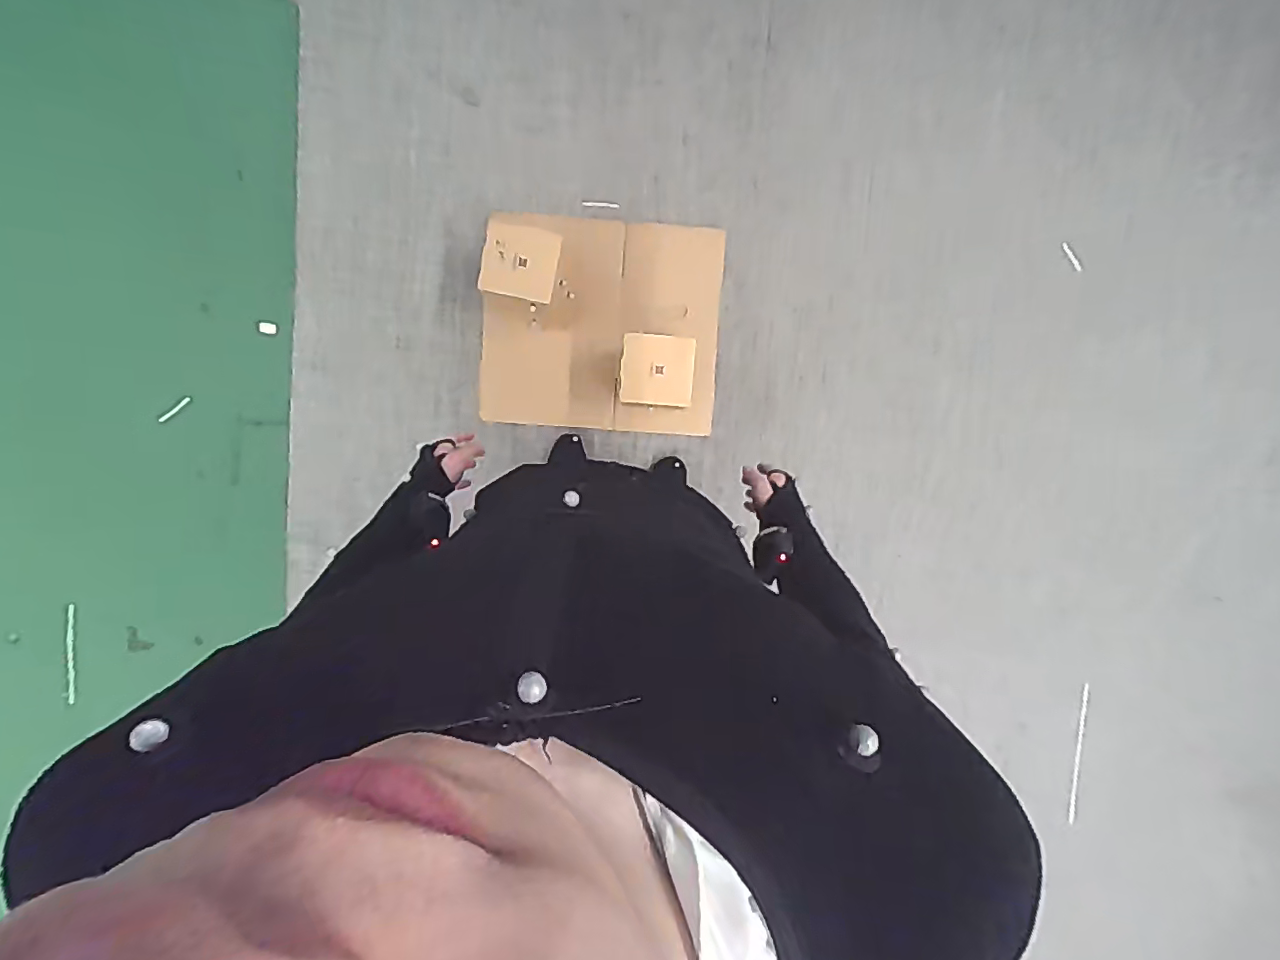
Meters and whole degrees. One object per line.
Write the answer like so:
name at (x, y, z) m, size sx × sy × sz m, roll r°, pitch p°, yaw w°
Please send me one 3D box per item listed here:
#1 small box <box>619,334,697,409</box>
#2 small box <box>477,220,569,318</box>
small box at (0.042, -0.268, 1.363) m, size 0.179 × 0.176 × 0.168 m, roll 4°, pitch 96°, yaw 0°
small box at (-0.279, -0.509, 1.329) m, size 0.179 × 0.176 × 0.168 m, roll 12°, pitch 94°, yaw -2°
